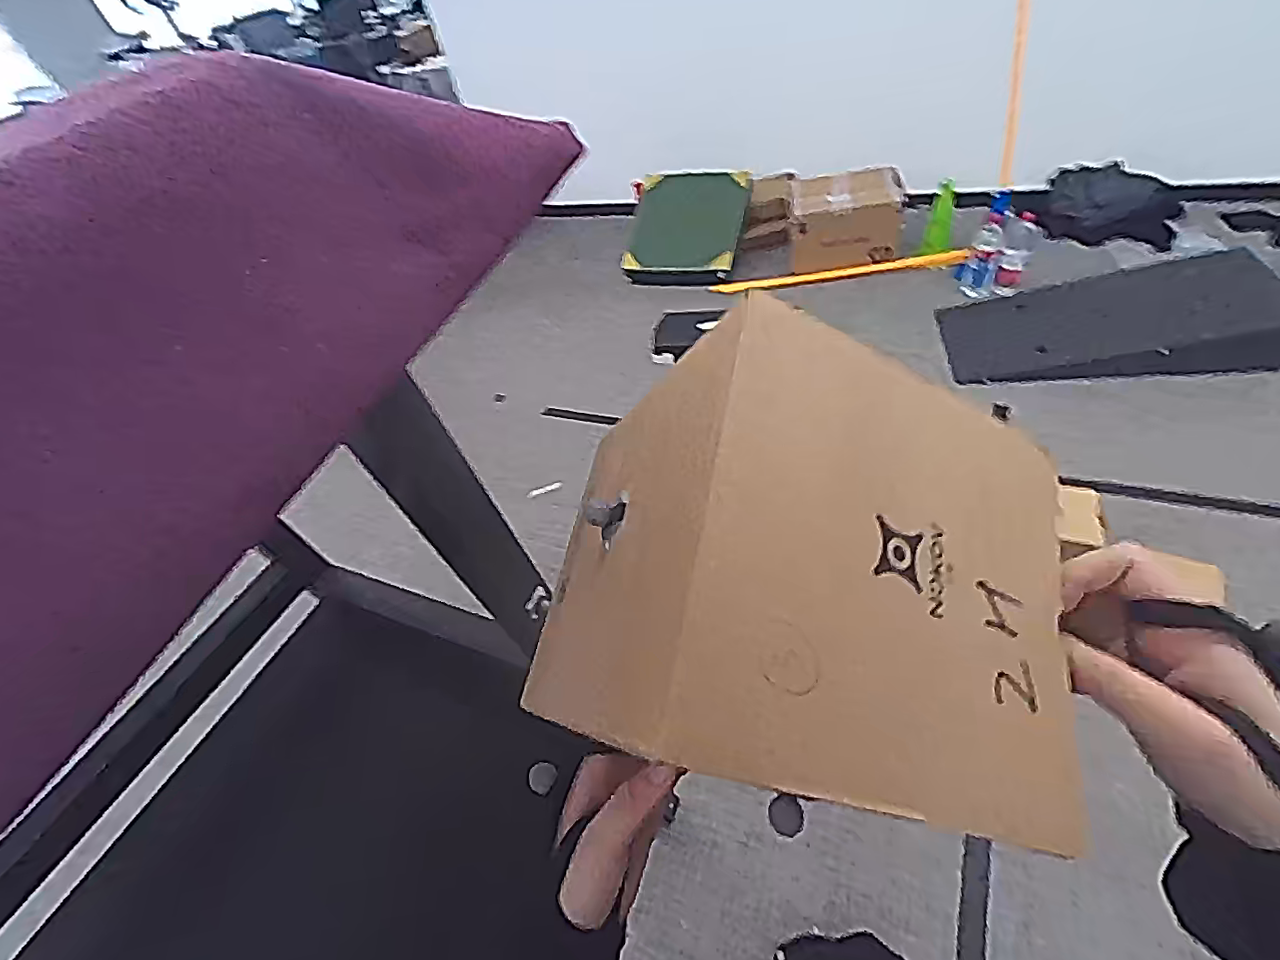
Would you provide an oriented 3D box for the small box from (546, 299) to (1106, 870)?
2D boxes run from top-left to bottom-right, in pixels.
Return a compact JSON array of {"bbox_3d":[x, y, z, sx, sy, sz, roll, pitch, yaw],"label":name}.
[{"bbox_3d":[0.071,0.056,0.266,0.179,0.176,0.168,24,64,-16],"label":"small box"}]

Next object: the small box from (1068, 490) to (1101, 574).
[{"bbox_3d":[0.980,0.131,1.326,0.179,0.176,0.168,10,51,21],"label":"small box"}]

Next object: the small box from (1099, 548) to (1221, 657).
[{"bbox_3d":[1.264,0.303,1.326,0.168,0.176,0.179,16,54,26],"label":"small box"}]
